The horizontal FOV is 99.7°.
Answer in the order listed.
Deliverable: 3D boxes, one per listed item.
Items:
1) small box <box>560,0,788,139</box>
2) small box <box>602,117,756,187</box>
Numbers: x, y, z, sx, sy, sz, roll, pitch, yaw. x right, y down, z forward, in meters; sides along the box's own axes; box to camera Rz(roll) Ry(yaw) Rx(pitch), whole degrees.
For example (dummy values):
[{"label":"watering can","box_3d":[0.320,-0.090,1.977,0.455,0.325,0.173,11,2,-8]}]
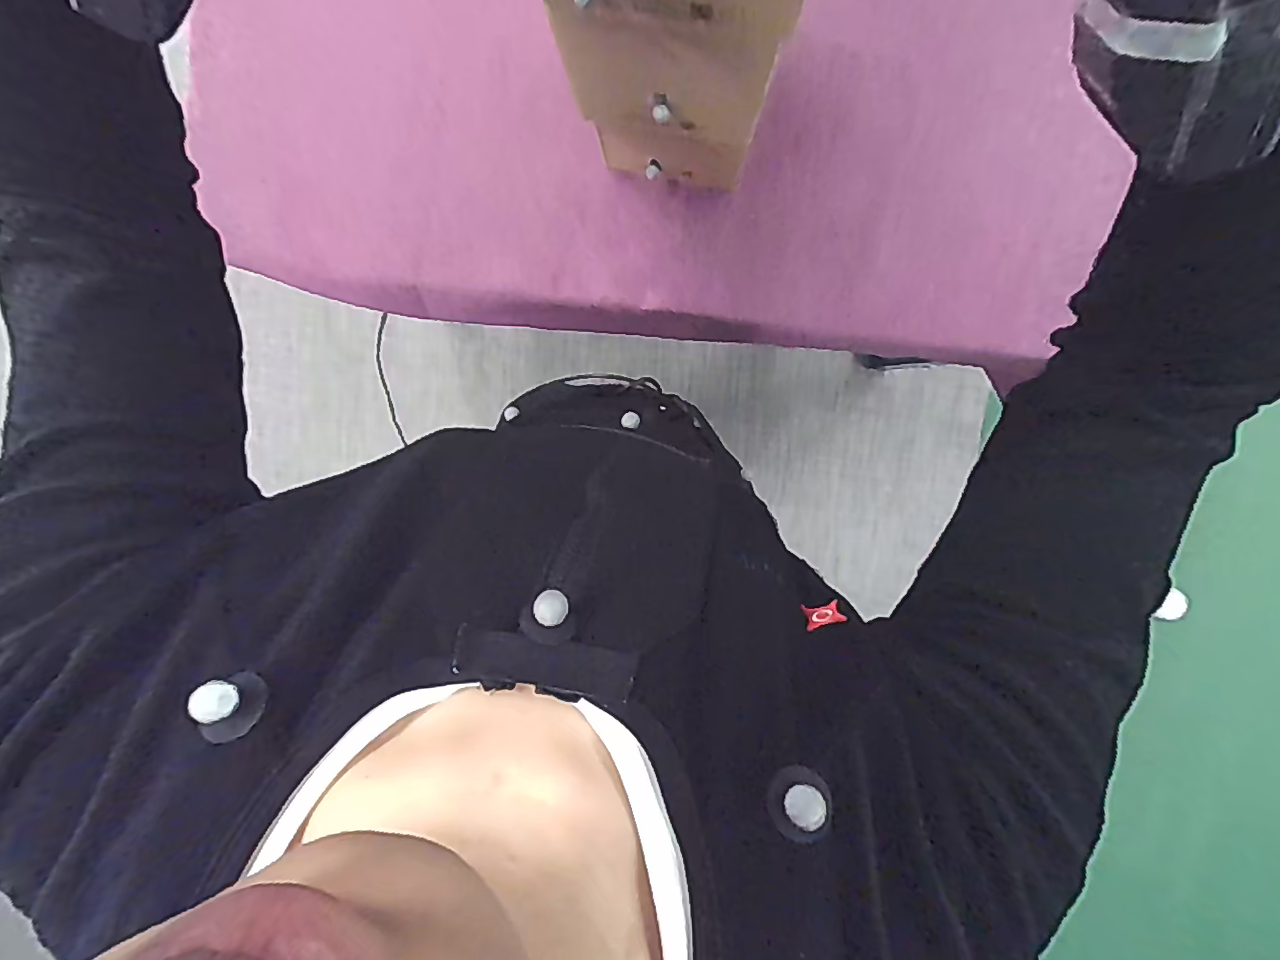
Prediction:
[{"label":"small box","box_3d":[0.035,-0.409,0.424,0.168,0.176,0.179,9,100,2]},{"label":"small box","box_3d":[0.049,-0.450,0.583,0.168,0.176,0.179,11,100,1]}]
